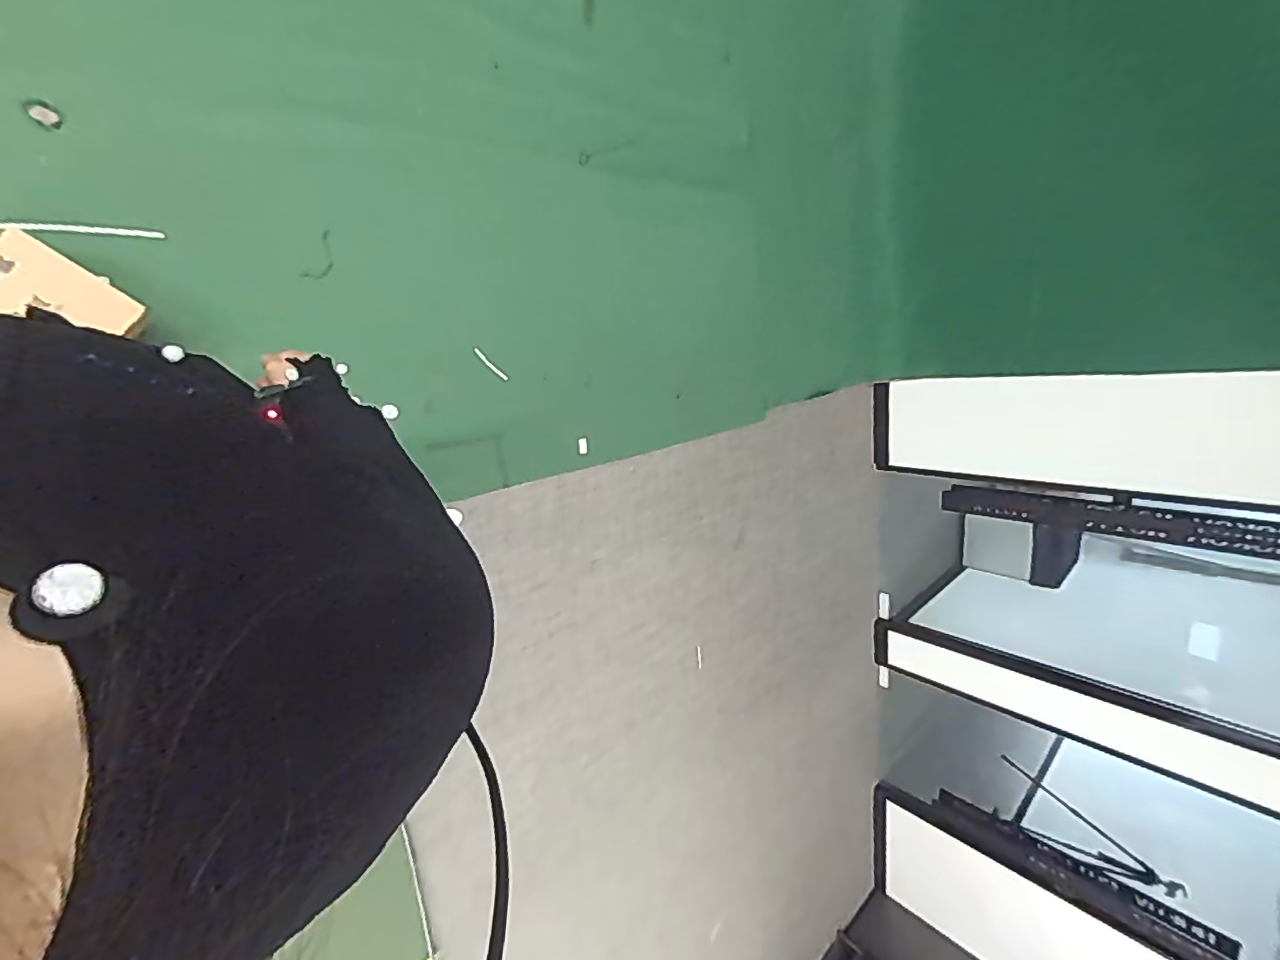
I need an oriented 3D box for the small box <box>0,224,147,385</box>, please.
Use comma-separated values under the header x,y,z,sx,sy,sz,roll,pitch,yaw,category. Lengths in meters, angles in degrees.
x,y,z,sx,sy,sz,roll,pitch,yaw,category
-0.947,-0.272,0.871,0.179,0.176,0.168,42,70,-38,small box
